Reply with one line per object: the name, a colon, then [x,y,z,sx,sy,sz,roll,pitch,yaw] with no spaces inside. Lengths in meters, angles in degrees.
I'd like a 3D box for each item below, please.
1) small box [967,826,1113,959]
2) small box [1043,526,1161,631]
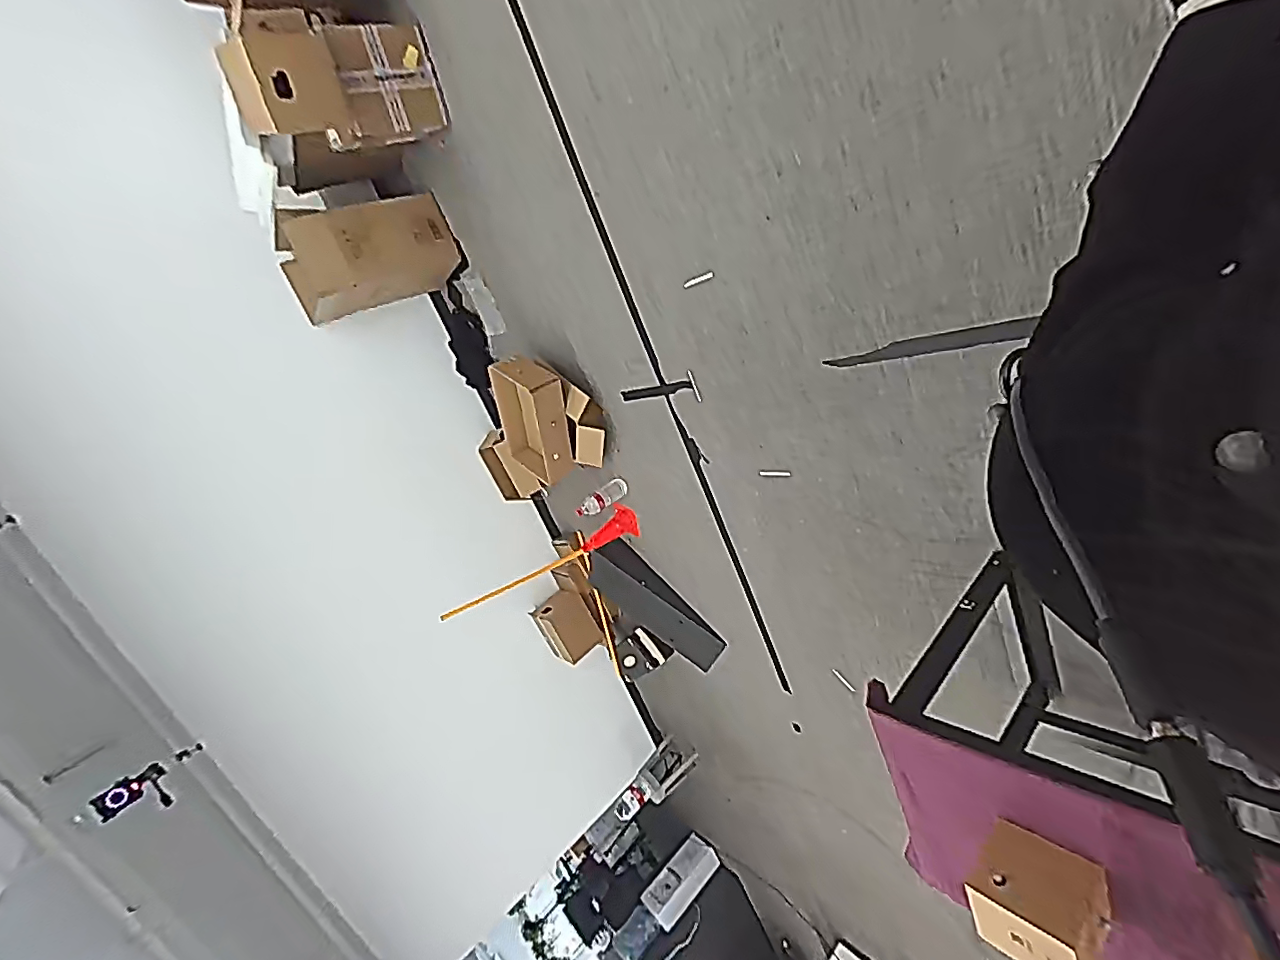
small box: [0.760,0.807,1.027,0.179,0.176,0.168,4,122,53]
small box: [1.163,0.238,1.364,0.179,0.176,0.168,21,134,43]
